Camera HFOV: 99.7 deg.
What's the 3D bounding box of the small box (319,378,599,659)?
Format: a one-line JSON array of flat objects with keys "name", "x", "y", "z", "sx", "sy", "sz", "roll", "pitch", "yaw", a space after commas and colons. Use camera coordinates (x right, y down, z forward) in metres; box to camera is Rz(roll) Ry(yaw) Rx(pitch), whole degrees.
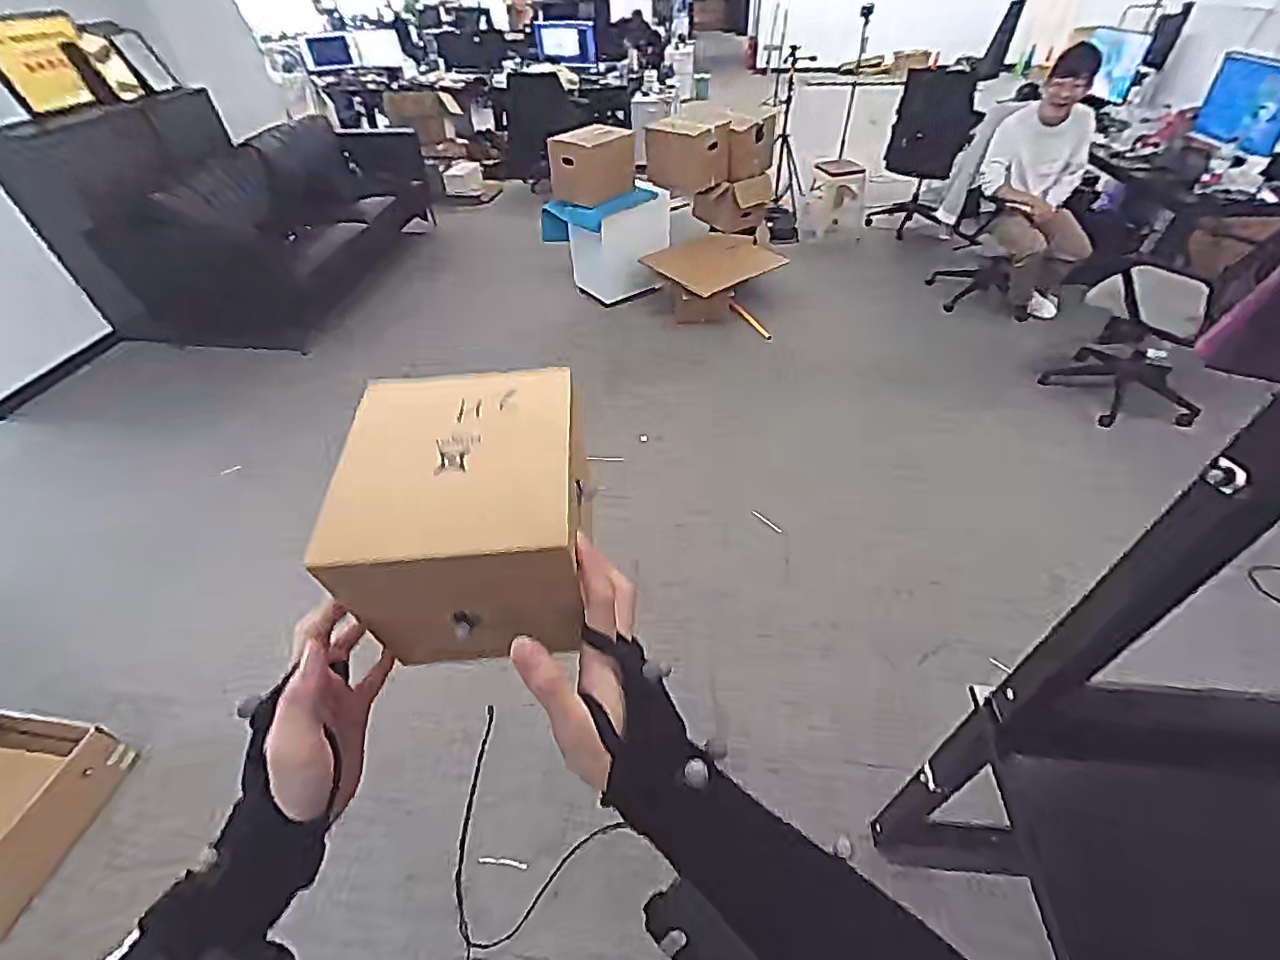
[{"name": "small box", "x": -0.124, "y": 0.039, "z": 0.454, "sx": 0.168, "sy": 0.176, "sz": 0.179, "roll": -4, "pitch": 49, "yaw": -1}]
